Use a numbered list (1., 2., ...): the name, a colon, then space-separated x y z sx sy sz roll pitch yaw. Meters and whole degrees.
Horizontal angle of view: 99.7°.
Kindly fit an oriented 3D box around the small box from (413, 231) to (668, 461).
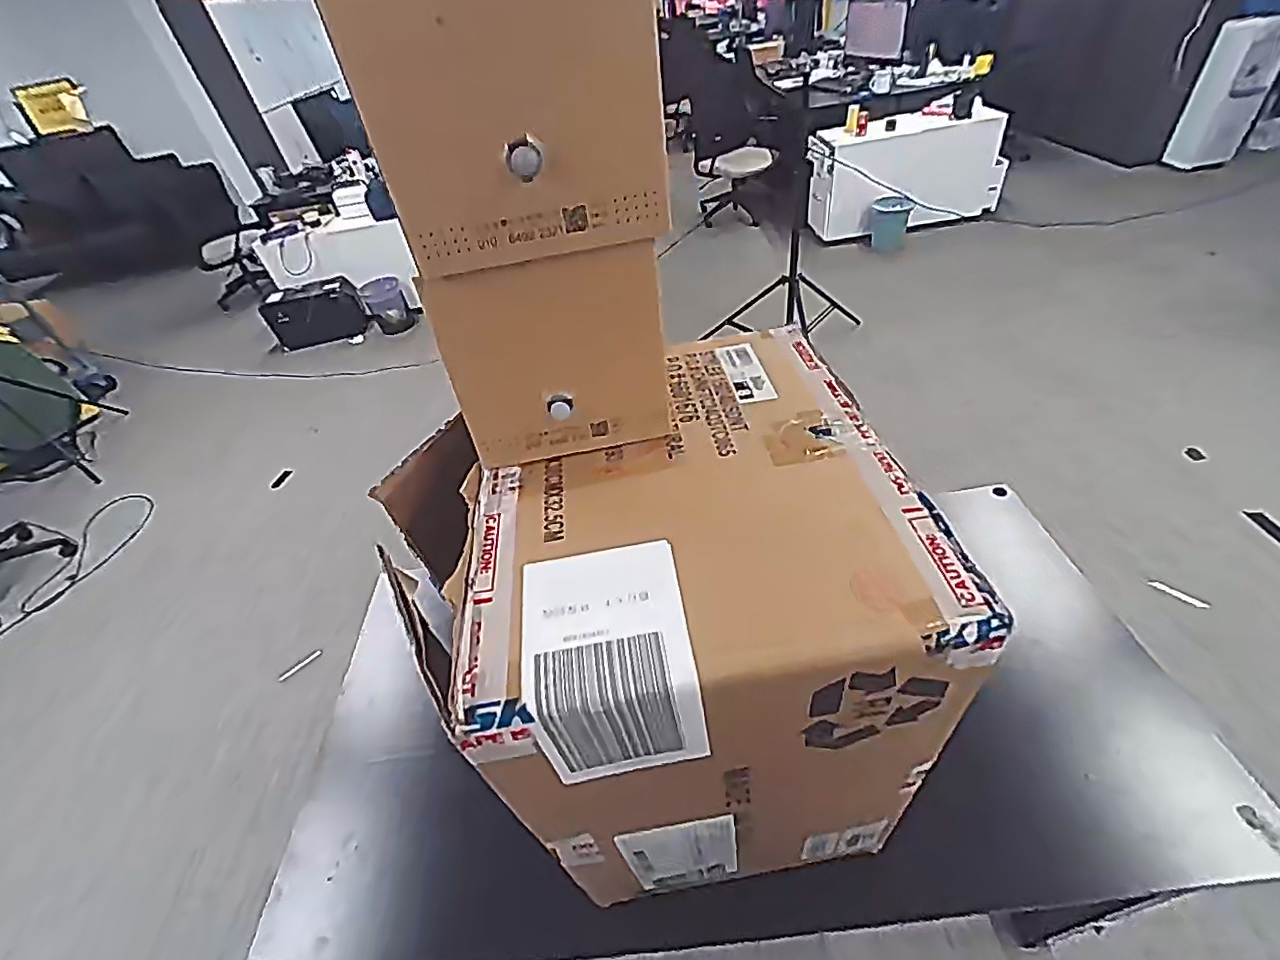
1. small box: -0.074 -0.141 0.473 0.168 0.176 0.179 -11 41 -2

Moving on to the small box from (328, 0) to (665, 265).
1. small box: -0.085 -0.261 0.359 0.168 0.176 0.179 -13 41 -4
